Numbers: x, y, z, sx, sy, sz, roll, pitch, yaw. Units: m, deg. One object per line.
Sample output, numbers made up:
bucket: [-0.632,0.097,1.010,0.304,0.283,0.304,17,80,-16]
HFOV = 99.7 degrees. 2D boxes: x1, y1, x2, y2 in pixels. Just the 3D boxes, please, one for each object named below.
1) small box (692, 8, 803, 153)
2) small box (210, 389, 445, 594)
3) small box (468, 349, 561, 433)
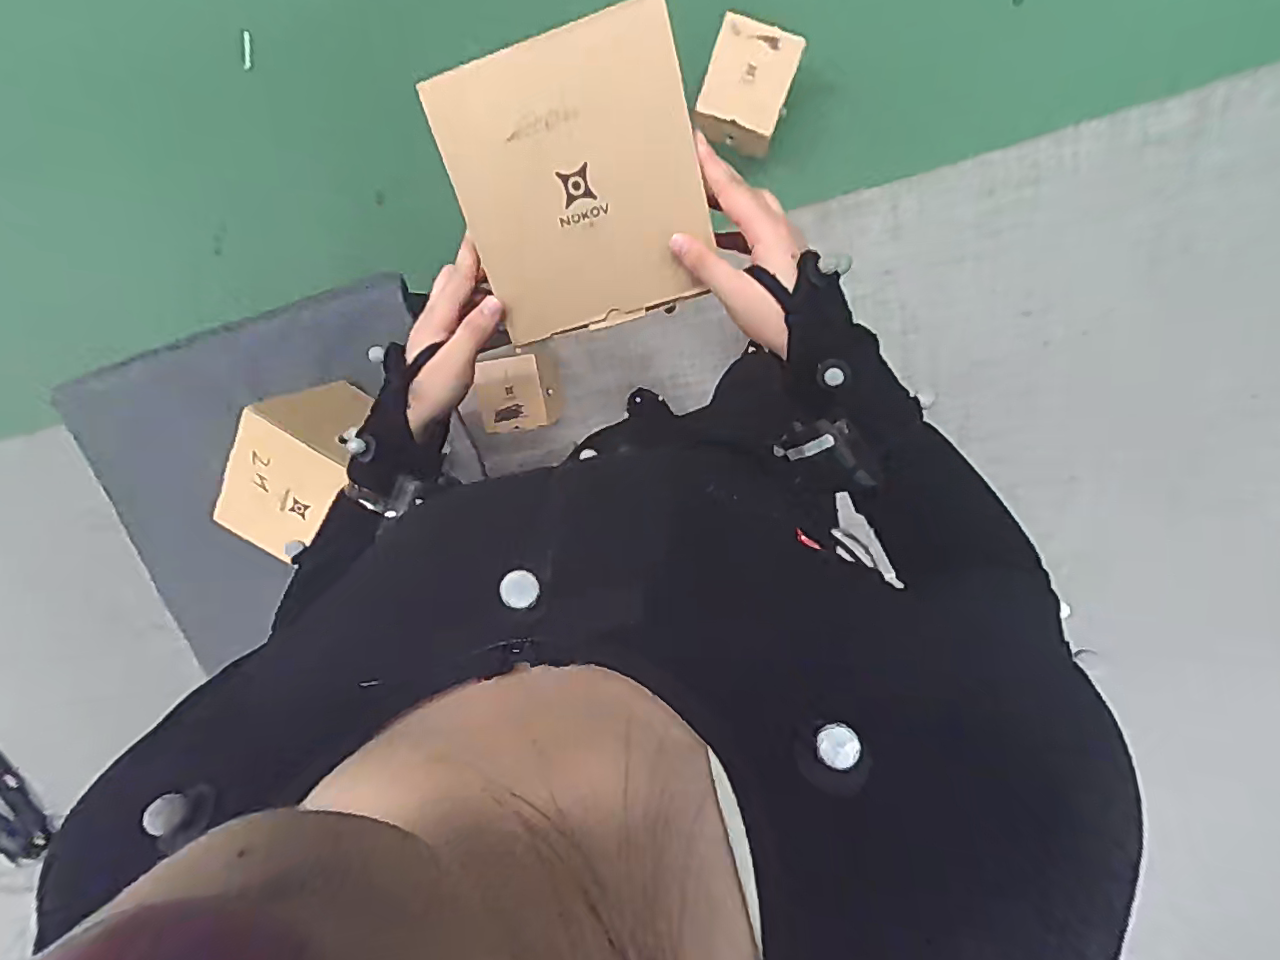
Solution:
small box: [0.220,-0.819,1.131,0.168,0.176,0.179,21,109,0]
small box: [-0.381,0.003,0.687,0.179,0.176,0.168,32,111,-4]
small box: [-0.311,-0.231,1.378,0.168,0.176,0.179,-7,106,8]
